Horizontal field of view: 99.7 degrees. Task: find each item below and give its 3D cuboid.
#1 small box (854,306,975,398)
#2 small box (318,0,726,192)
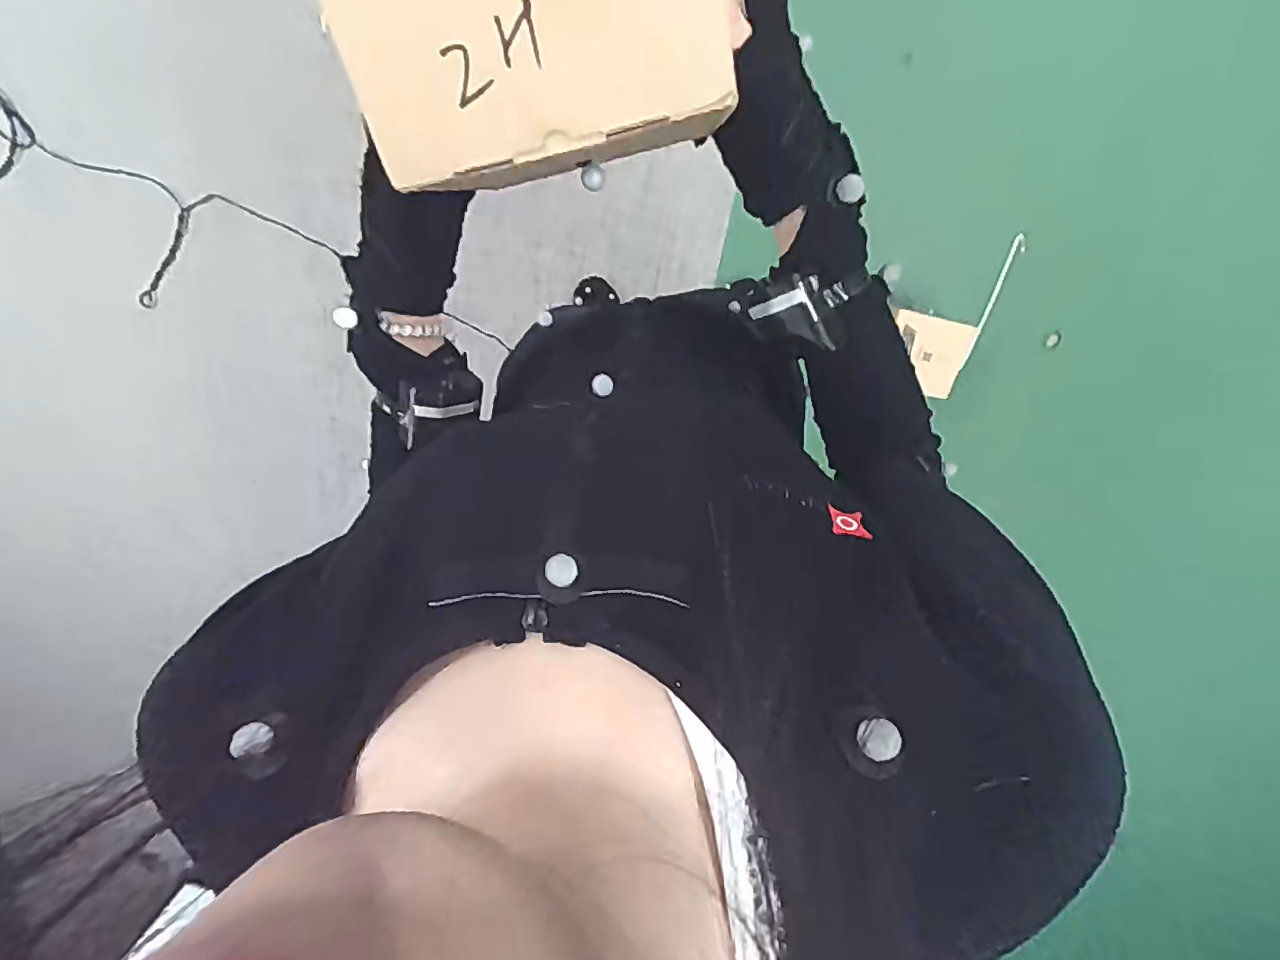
[{"bbox_3d":[0.632,-0.308,1.274,0.179,0.176,0.168,13,112,-1],"label":"small box"},{"bbox_3d":[-0.055,-0.263,0.281,0.168,0.176,0.179,-9,117,8],"label":"small box"}]
